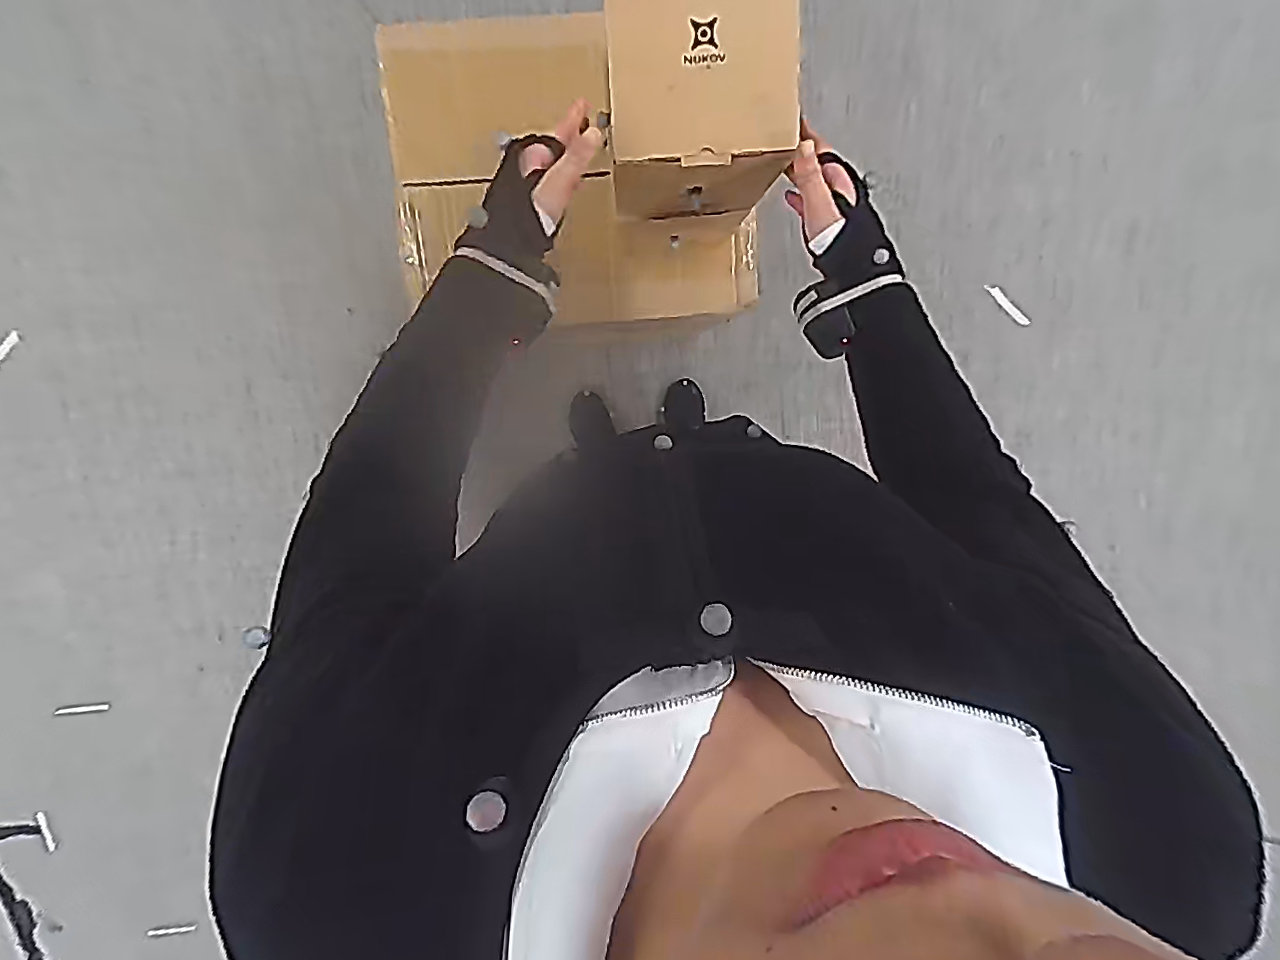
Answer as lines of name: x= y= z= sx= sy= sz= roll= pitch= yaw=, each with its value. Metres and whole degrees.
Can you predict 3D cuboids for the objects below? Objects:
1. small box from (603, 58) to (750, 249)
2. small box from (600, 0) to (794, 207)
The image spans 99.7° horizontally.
small box: x=0.041 y=-0.414 z=0.701 sx=0.168 sy=0.176 sz=0.179 roll=-5 pitch=102 yaw=0
small box: x=0.050 y=-0.385 z=0.540 sx=0.168 sy=0.176 sz=0.179 roll=-4 pitch=103 yaw=0
